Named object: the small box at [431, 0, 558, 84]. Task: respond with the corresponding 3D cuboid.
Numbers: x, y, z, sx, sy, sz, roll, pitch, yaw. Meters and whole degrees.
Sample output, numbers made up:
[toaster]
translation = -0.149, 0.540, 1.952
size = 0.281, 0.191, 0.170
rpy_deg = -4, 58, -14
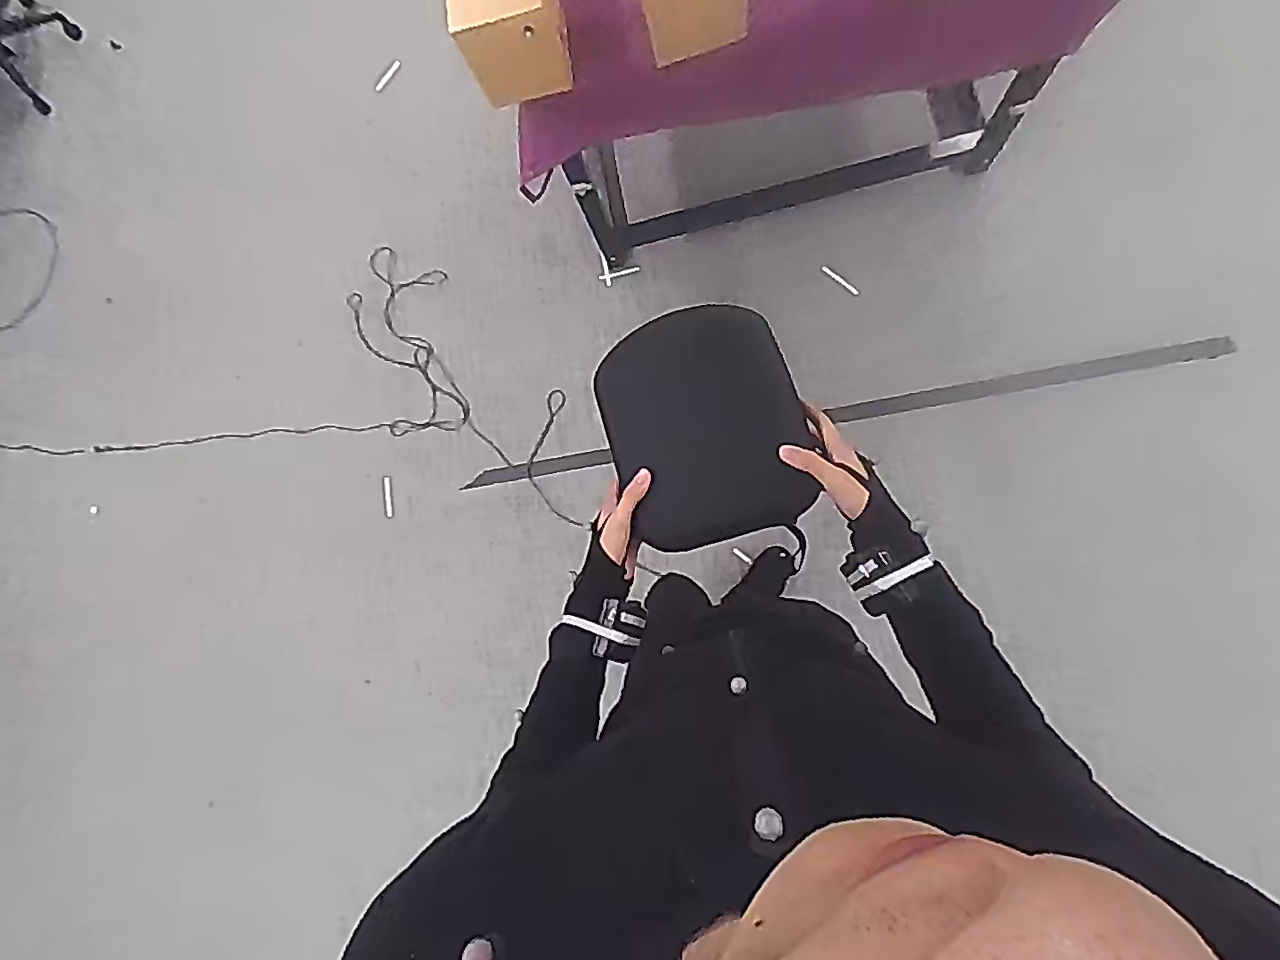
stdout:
[small box]
translation = -0.265, -0.874, 0.989
size = 0.179, 0.176, 0.168
rpy_deg = -9, 83, 7
